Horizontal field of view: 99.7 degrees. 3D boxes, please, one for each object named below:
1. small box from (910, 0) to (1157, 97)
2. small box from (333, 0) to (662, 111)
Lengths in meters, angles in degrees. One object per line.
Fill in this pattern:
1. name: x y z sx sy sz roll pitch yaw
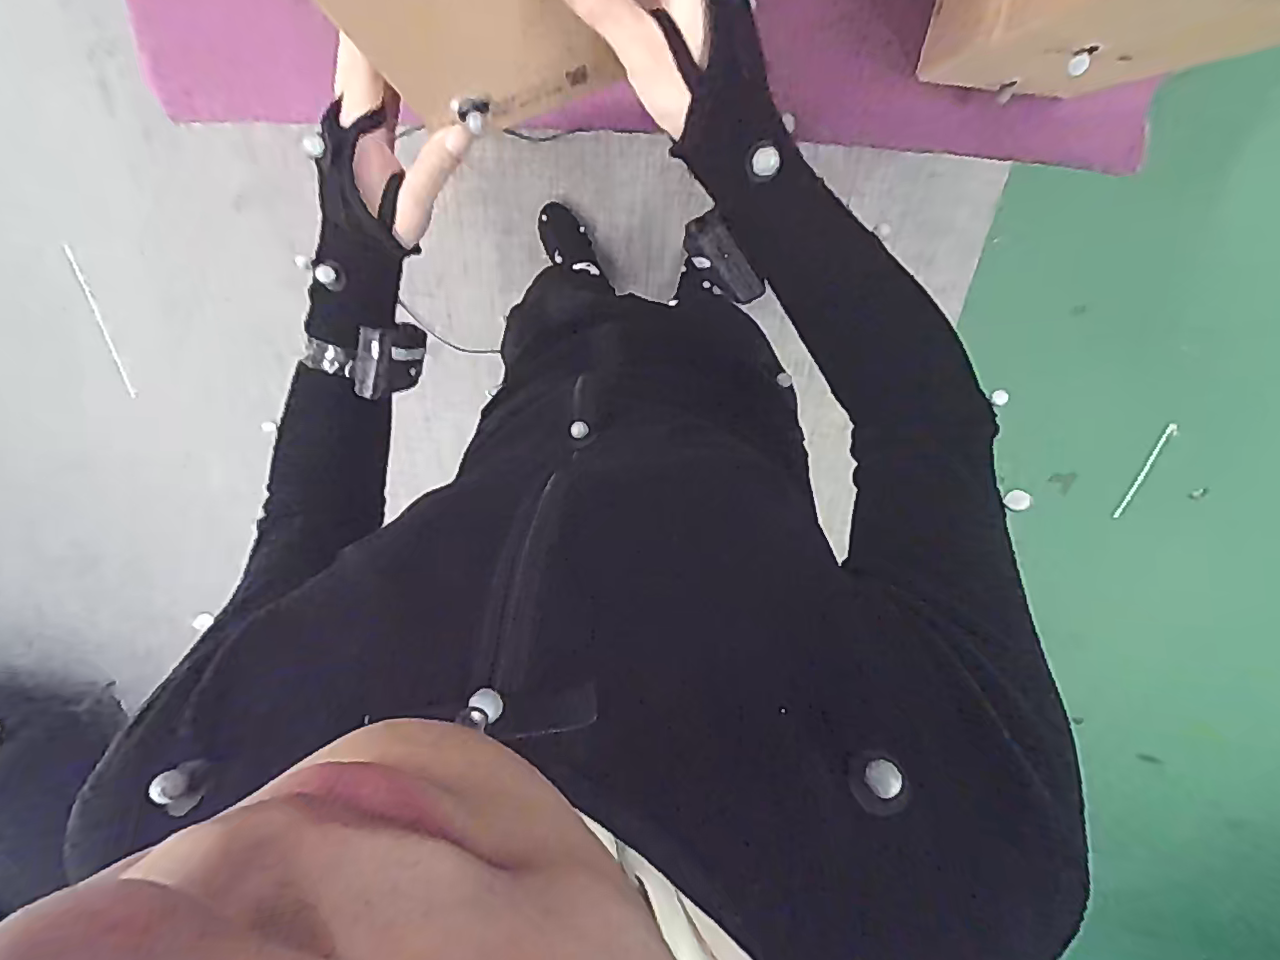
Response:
1. small box: 0.393 -0.480 0.512 0.179 0.176 0.168 9 118 2
2. small box: -0.092 -0.338 0.285 0.168 0.176 0.179 -16 93 8
